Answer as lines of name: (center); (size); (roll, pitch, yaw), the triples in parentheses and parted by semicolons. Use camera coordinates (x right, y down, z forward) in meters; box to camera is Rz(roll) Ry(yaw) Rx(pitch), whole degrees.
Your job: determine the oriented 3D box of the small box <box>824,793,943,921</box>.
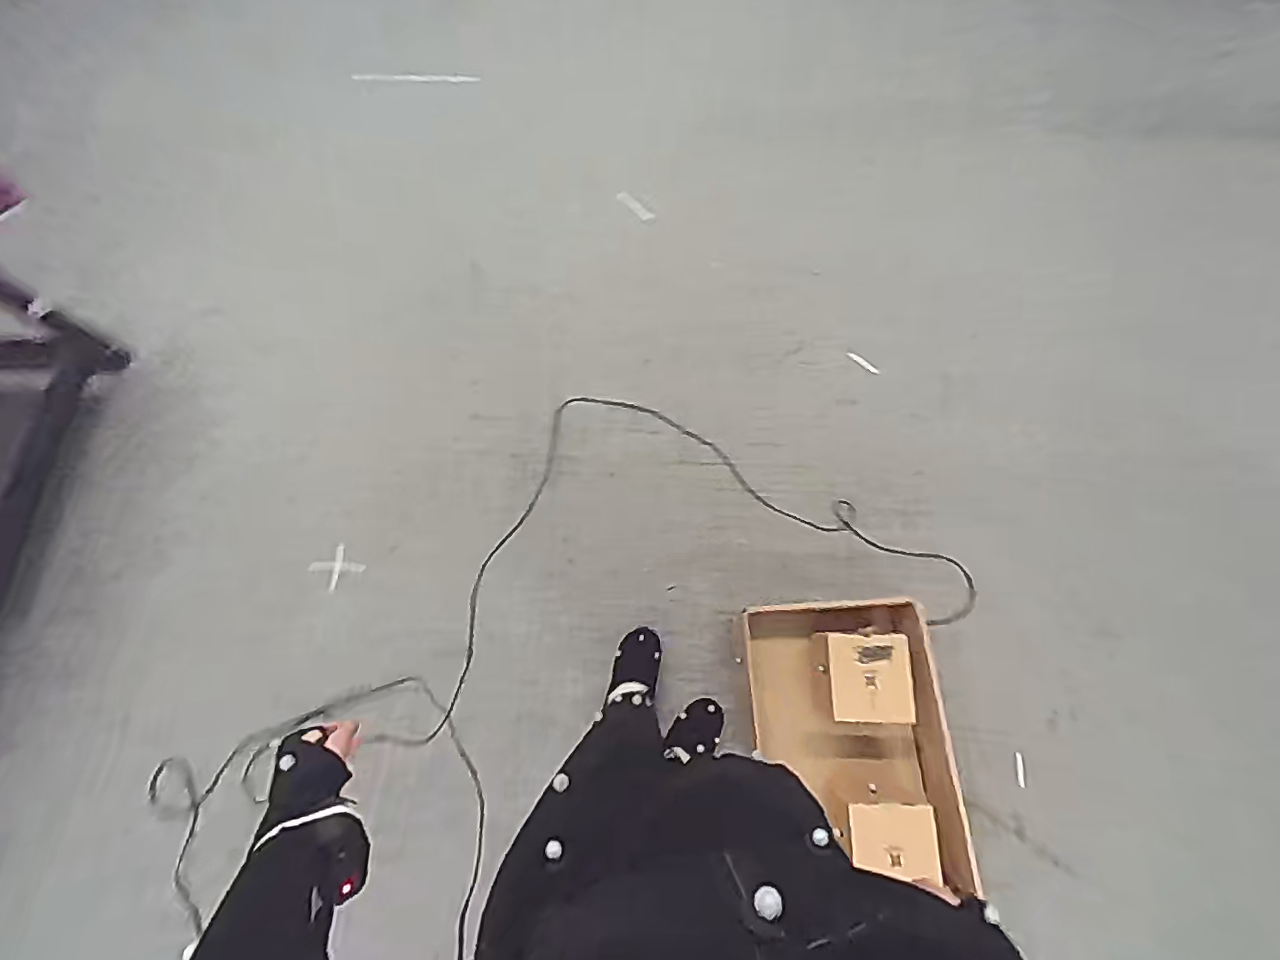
small box: (0.479, 0.748, 1.093); (0.168, 0.176, 0.179); (2, 72, 2)
